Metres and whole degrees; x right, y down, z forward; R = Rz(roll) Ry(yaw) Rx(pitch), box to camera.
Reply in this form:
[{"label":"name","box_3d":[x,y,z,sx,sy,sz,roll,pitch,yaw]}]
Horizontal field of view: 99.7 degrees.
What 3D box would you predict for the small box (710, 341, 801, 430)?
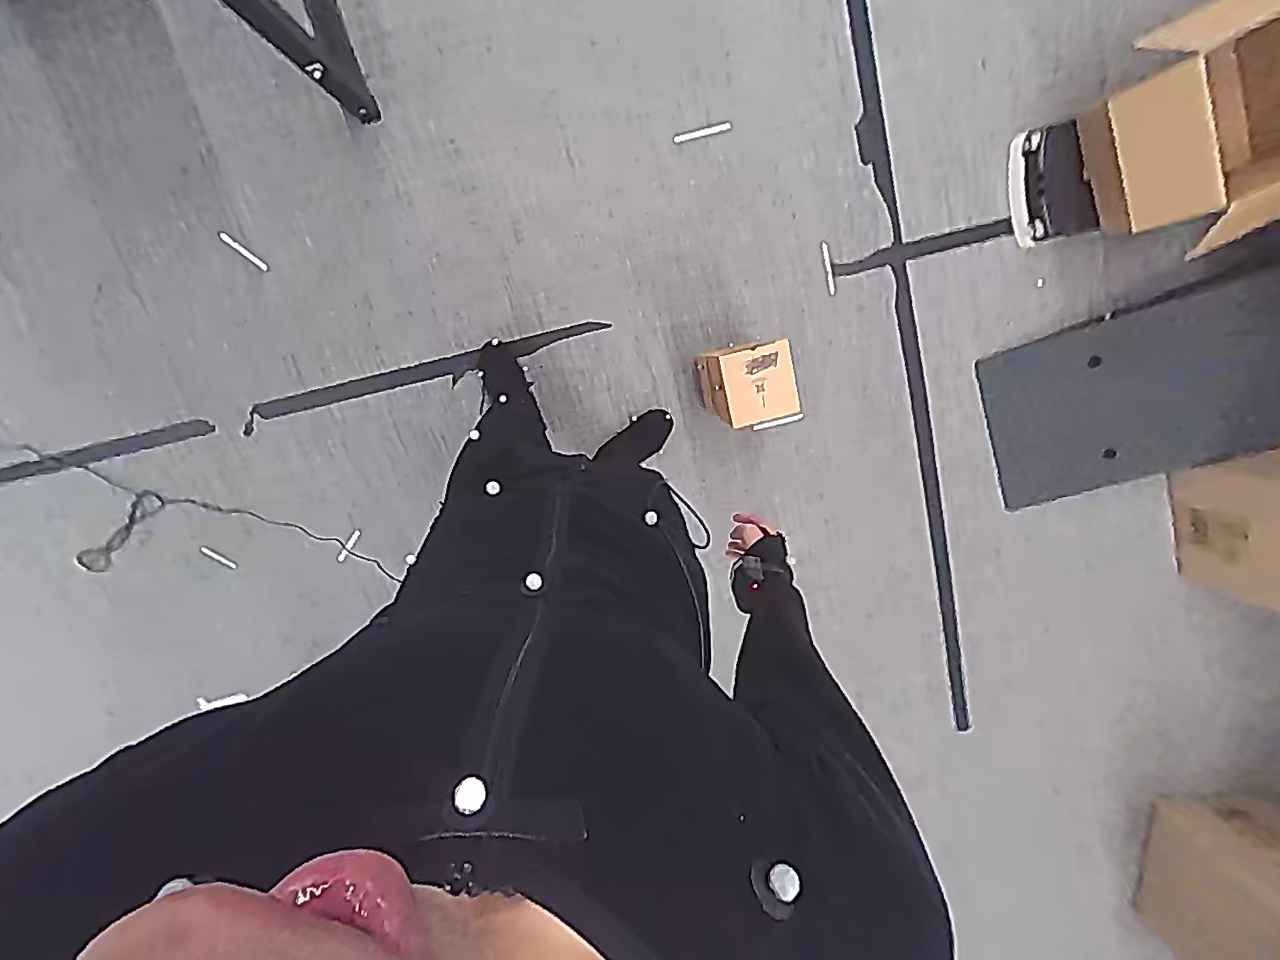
[{"label":"small box","box_3d":[0.276,-0.234,1.321,0.168,0.176,0.179,-14,105,1]}]
